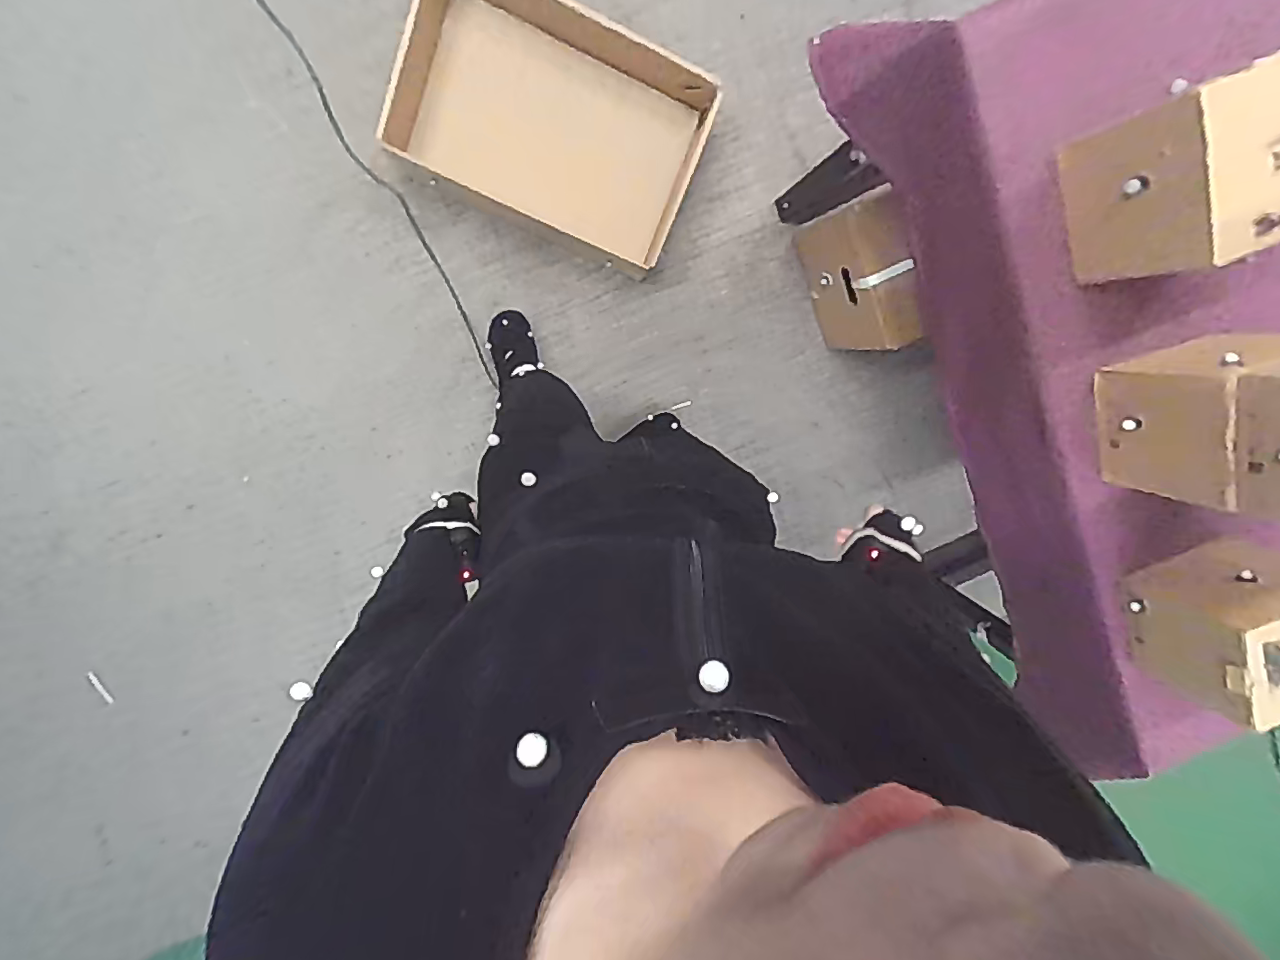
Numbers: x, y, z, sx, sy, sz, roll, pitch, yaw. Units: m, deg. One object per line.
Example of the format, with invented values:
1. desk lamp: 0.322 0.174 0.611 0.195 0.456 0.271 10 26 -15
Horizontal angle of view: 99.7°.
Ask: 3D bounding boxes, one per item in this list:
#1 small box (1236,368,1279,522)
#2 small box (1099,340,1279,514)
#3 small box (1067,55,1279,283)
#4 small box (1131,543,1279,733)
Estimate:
1. small box: 0.765 -0.040 0.532 0.179 0.176 0.168 -16 104 0
2. small box: 0.746 -0.078 0.692 0.179 0.176 0.168 -17 104 1
3. small box: 0.633 -0.344 0.614 0.168 0.176 0.179 -21 104 2
4. small box: 0.853 0.213 0.770 0.179 0.176 0.168 -22 105 0
